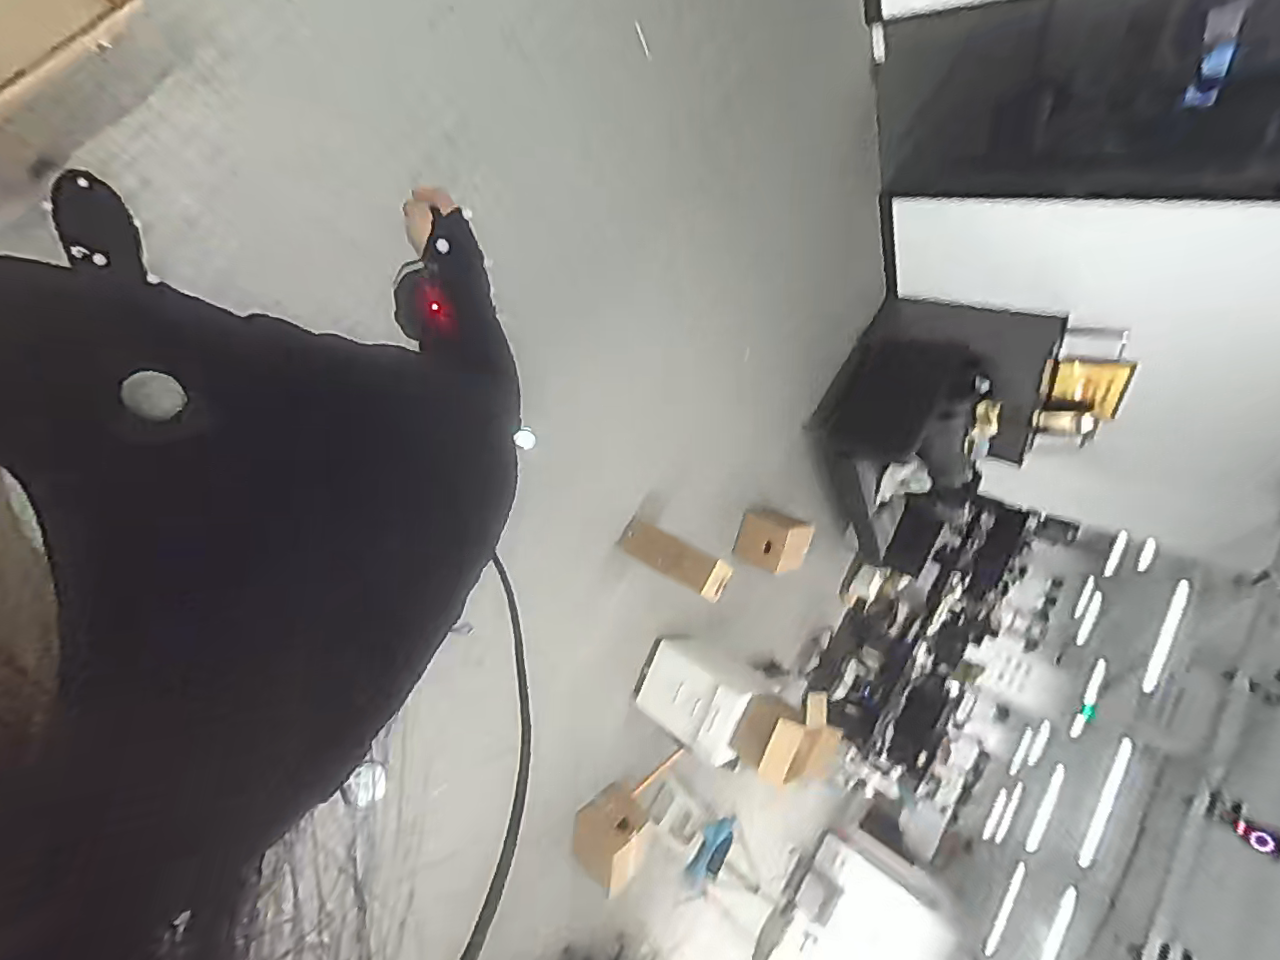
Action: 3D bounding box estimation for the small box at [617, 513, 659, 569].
[{"bbox_3d":[0.015,0.284,2.543,0.179,0.176,0.168,-58,143,-11],"label":"small box"}]

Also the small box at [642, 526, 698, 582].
[{"bbox_3d":[0.130,0.333,2.438,0.179,0.176,0.168,-61,145,-10],"label":"small box"}]
